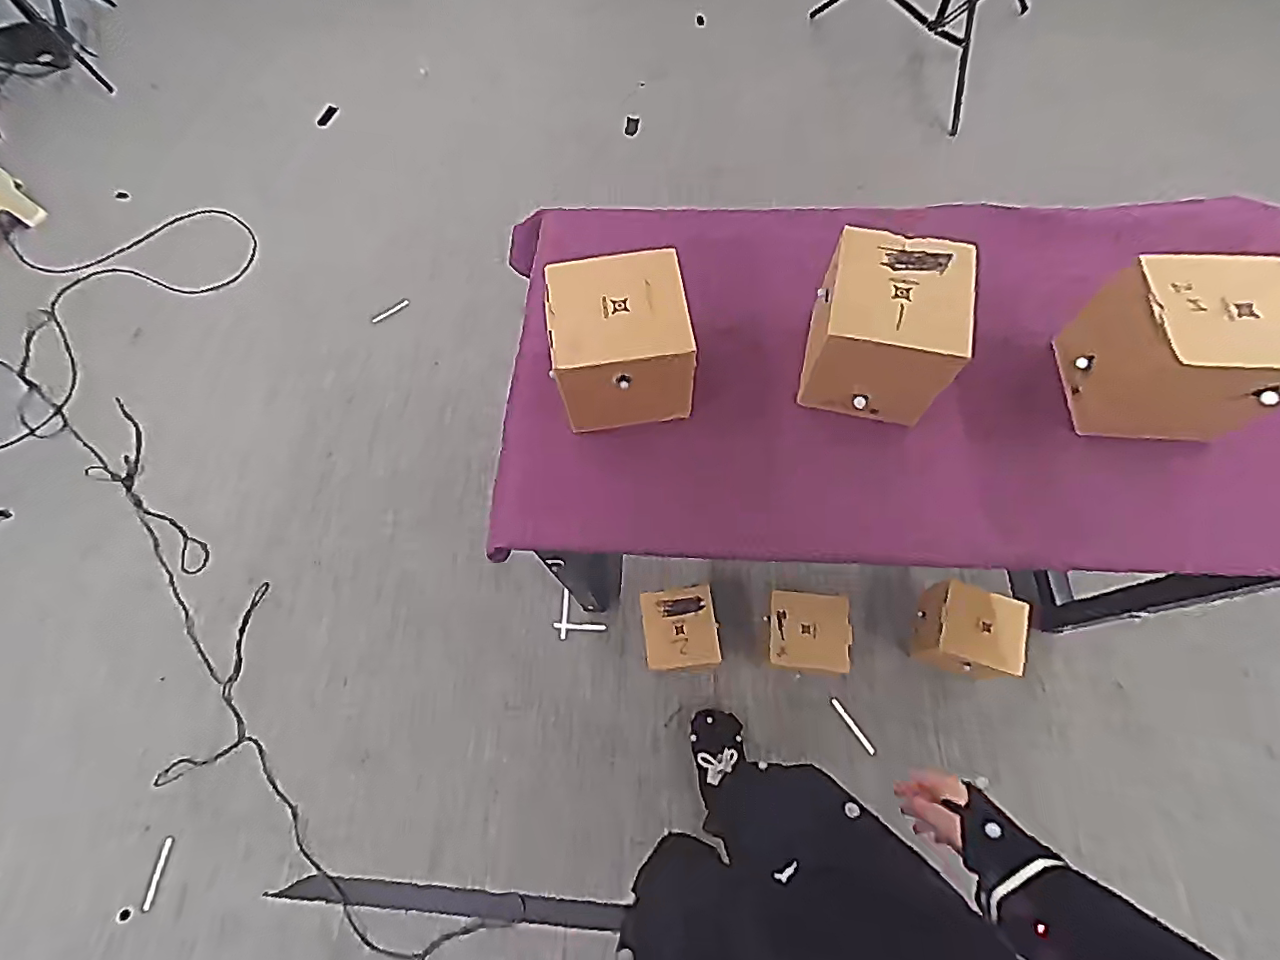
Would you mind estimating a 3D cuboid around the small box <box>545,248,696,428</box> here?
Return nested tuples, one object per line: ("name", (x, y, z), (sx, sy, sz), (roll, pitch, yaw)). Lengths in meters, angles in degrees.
("small box", (-0.025, -0.186, 0.747), (0.179, 0.176, 0.168), (-8, 69, -2))

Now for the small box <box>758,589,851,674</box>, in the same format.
("small box", (0.385, 0.364, 1.284), (0.179, 0.176, 0.168), (6, 68, 5))

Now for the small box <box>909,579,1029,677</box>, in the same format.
("small box", (0.765, 0.351, 1.268), (0.179, 0.176, 0.168), (17, 70, 11))

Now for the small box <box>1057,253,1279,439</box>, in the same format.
("small box", (0.692, -0.163, 0.693), (0.179, 0.176, 0.168), (3, 67, 5))

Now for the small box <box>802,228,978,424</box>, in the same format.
("small box", (0.327, -0.201, 0.731), (0.168, 0.176, 0.179), (12, 69, 9))
